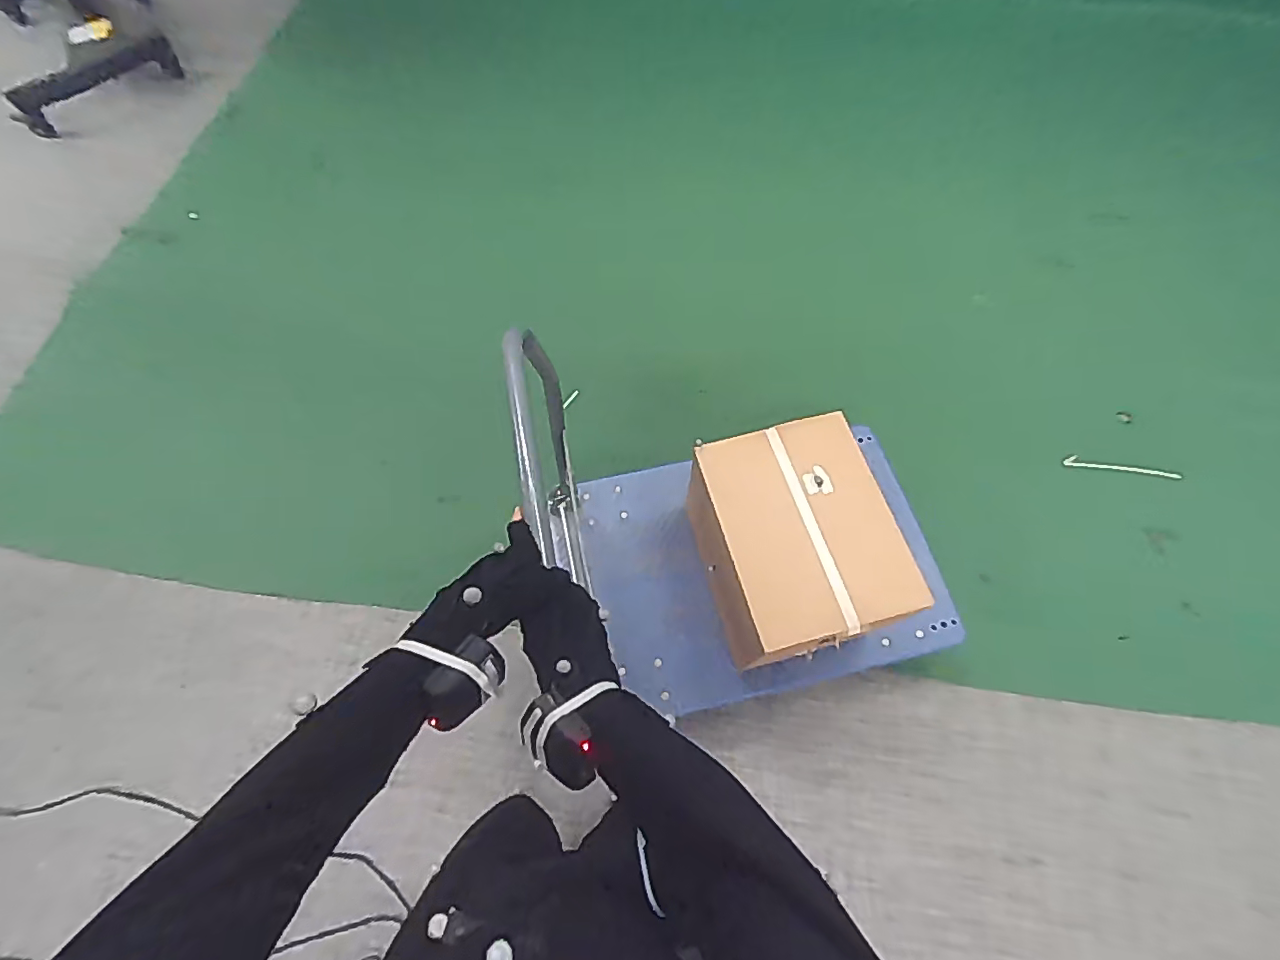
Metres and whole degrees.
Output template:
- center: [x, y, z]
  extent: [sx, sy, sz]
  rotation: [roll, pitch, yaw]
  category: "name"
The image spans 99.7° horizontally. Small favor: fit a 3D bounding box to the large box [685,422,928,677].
- center: [0.303, 0.154, 1.133]
  extent: [0.320, 0.320, 0.408]
  rotation: [-13, 64, -7]
  category: "large box"
